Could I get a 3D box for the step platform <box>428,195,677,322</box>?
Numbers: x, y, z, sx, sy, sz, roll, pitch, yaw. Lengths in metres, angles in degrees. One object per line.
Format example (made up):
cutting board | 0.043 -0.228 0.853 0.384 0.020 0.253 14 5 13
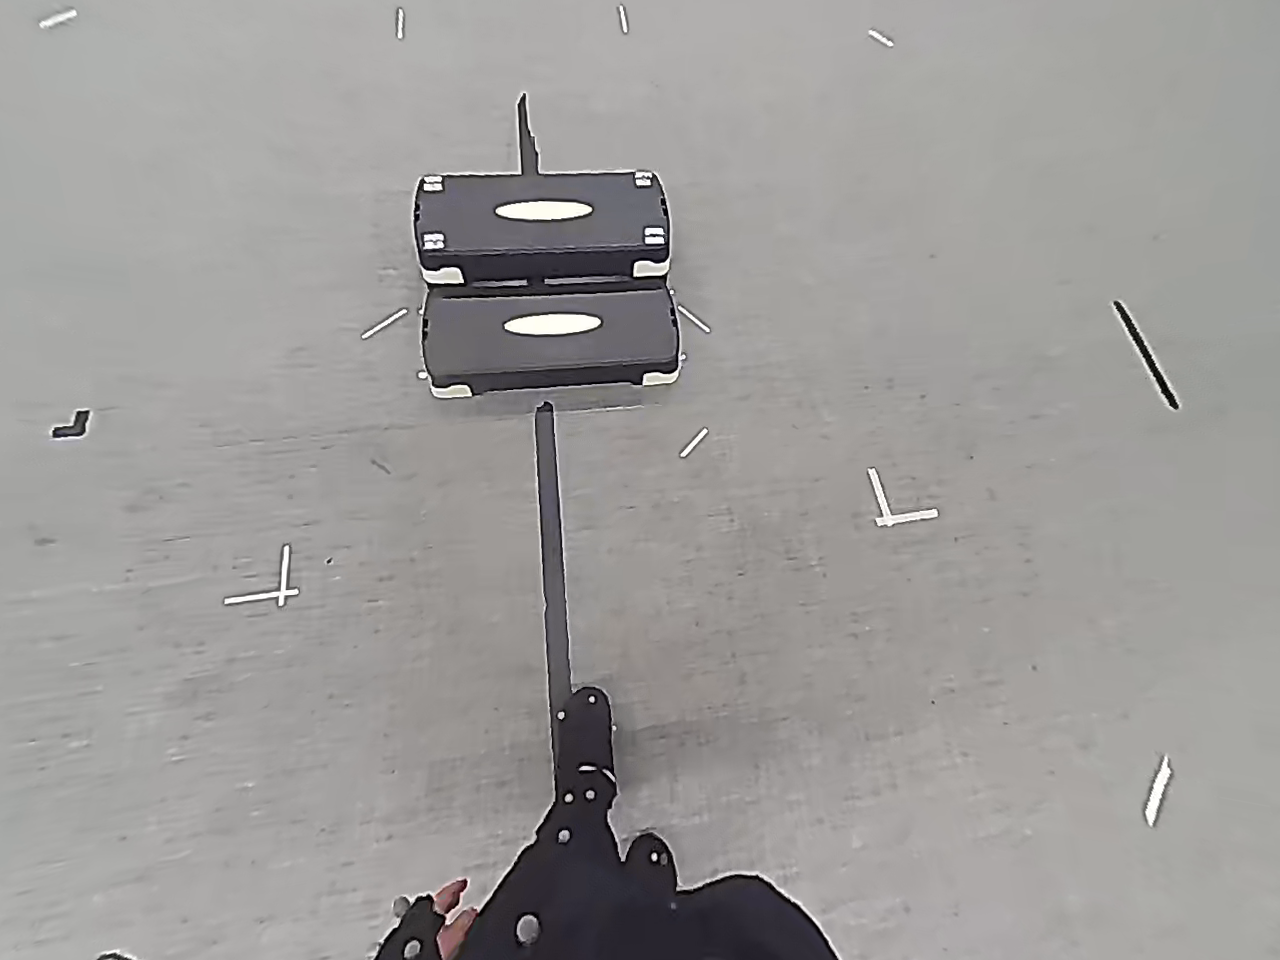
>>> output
step platform | -0.237 -0.626 1.535 0.684 0.204 0.286 -1 68 -6
